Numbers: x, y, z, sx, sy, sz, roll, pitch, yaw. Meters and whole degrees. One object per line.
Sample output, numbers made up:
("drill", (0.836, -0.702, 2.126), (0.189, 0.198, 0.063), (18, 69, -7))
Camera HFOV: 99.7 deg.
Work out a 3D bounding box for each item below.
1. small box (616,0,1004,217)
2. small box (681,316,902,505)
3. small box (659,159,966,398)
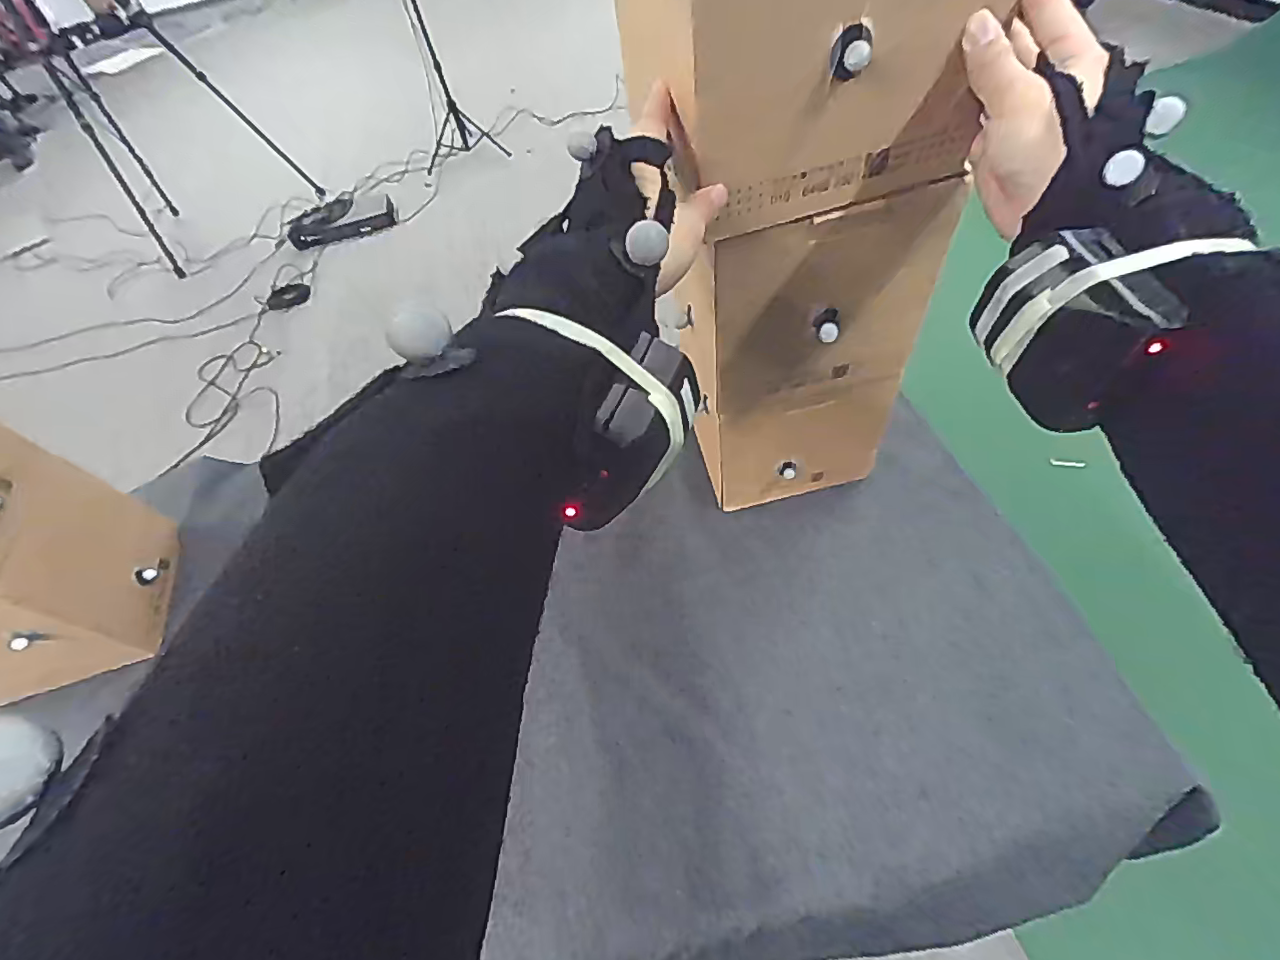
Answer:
("small box", (0.082, -0.272, 0.302), (0.168, 0.176, 0.179), (-16, 55, -2))
("small box", (0.141, -0.100, 0.578), (0.168, 0.176, 0.179), (-14, 55, 0))
("small box", (0.117, -0.187, 0.441), (0.168, 0.176, 0.179), (-14, 56, 0))
